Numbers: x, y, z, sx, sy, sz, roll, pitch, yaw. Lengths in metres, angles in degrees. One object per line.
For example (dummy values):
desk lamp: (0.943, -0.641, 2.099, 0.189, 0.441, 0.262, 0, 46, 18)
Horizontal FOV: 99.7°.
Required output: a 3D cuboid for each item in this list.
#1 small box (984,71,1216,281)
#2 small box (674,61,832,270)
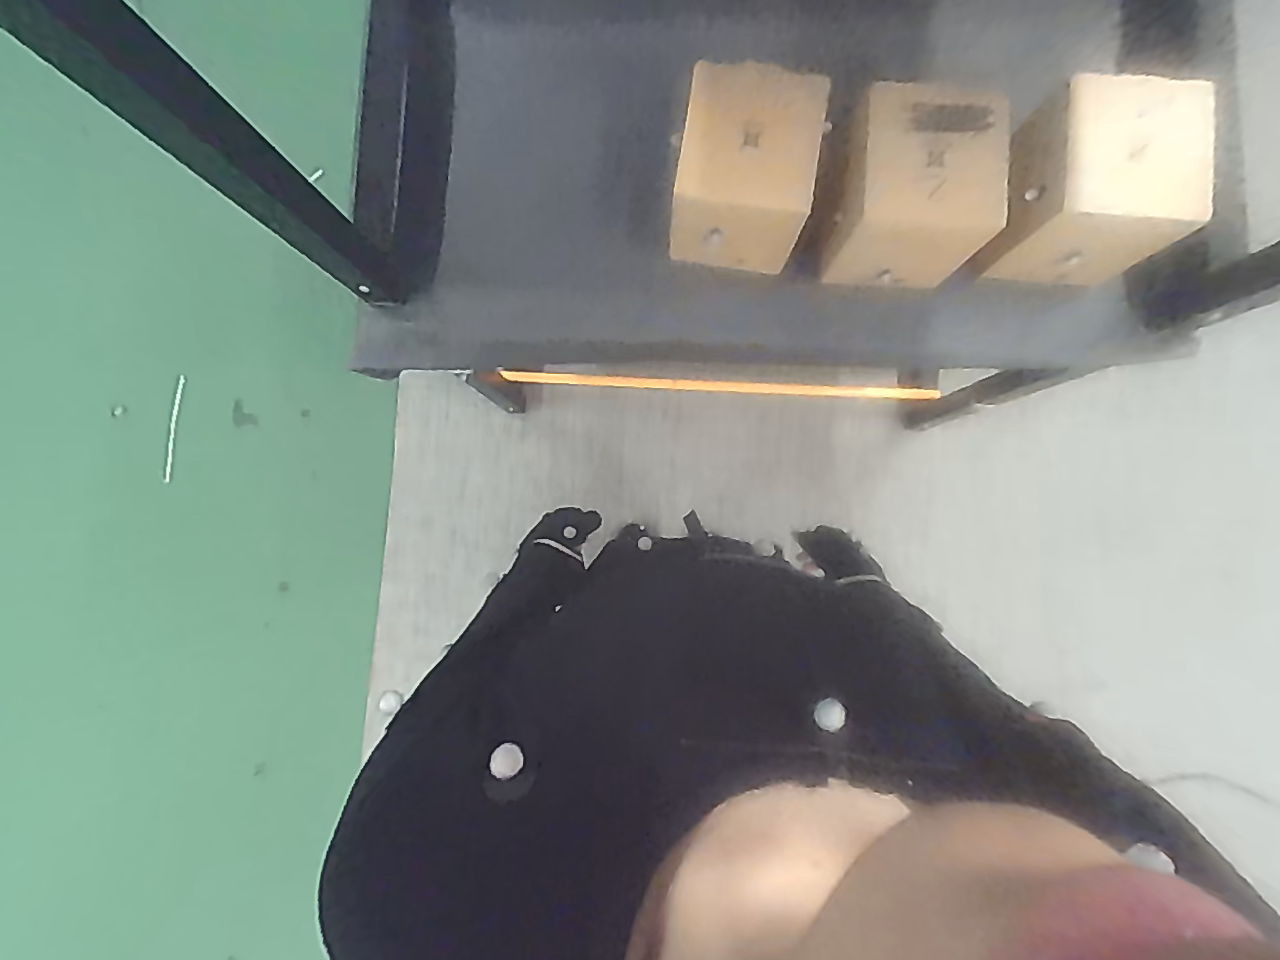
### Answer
small box: (0.581, -0.381, 0.706, 0.168, 0.176, 0.179, 6, 85, 2)
small box: (0.141, -0.407, 0.727, 0.168, 0.176, 0.179, 9, 85, 3)
